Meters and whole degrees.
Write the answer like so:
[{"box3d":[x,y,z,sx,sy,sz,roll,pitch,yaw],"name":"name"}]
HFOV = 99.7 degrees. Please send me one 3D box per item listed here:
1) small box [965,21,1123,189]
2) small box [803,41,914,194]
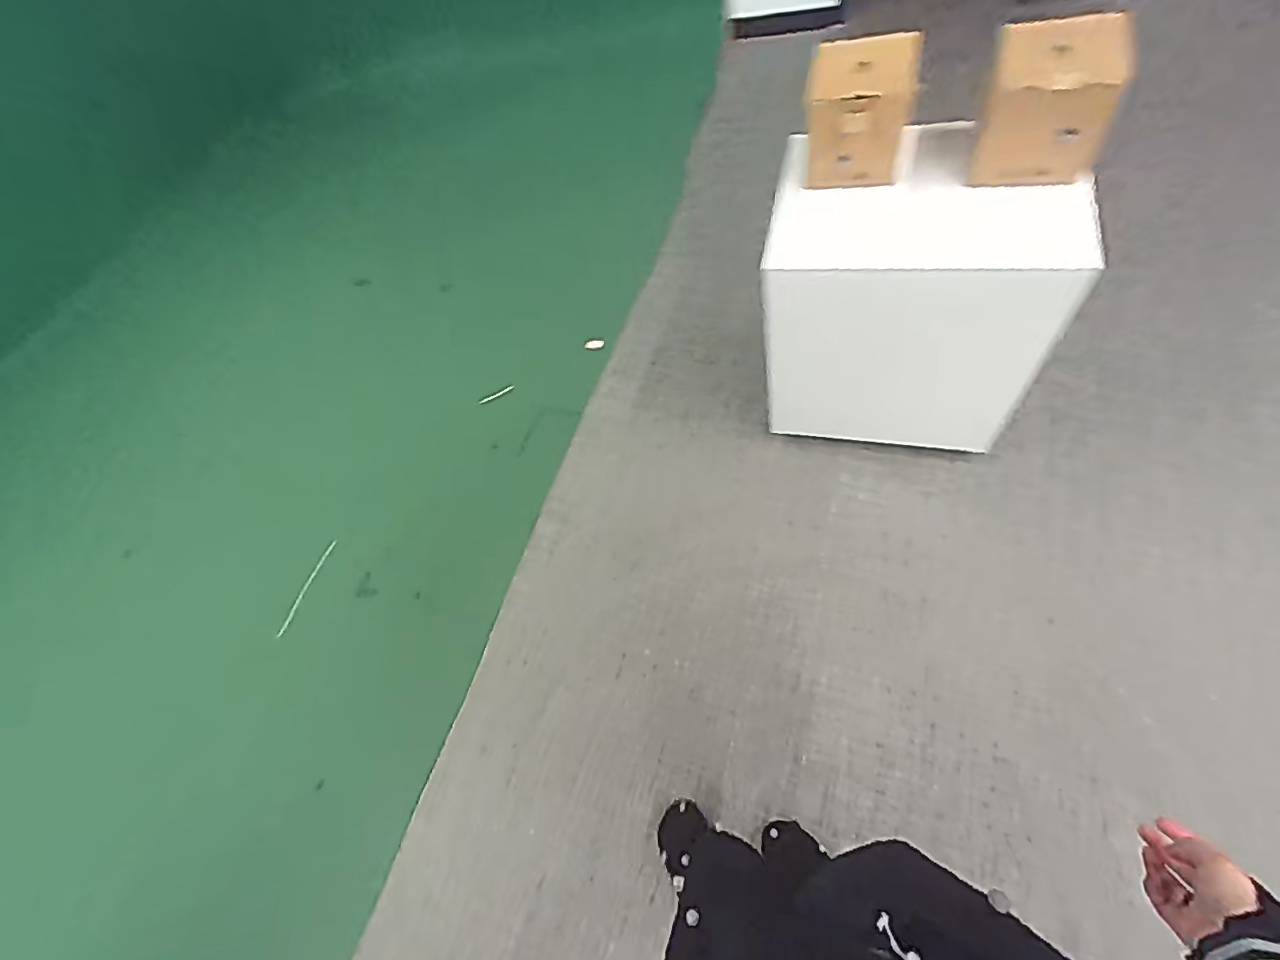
[{"box3d":[0.657,-0.609,0.898,0.168,0.176,0.179,10,65,20],"name":"small box"},{"box3d":[0.396,-0.661,0.998,0.168,0.176,0.179,7,66,18],"name":"small box"}]
